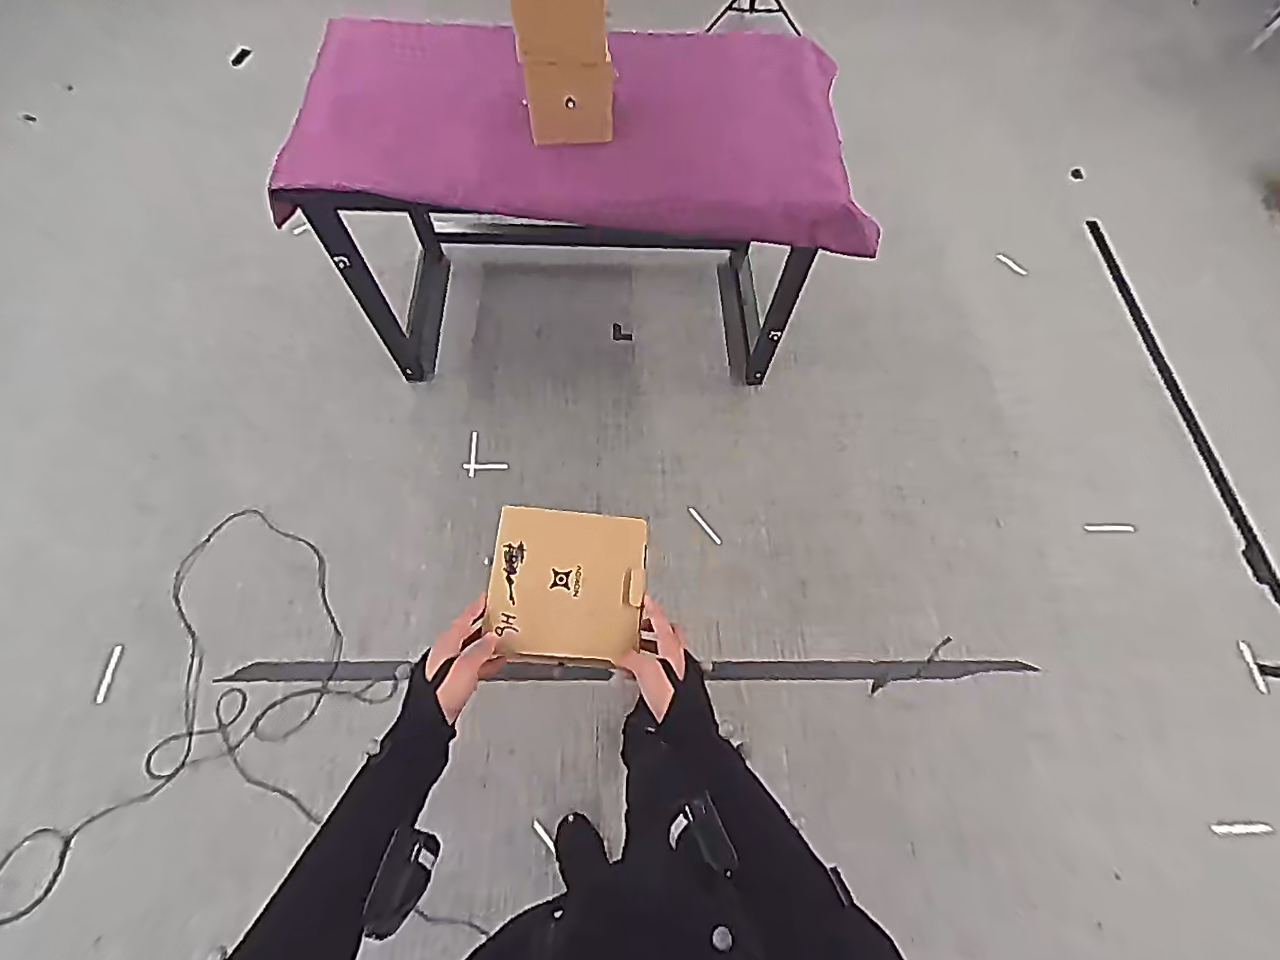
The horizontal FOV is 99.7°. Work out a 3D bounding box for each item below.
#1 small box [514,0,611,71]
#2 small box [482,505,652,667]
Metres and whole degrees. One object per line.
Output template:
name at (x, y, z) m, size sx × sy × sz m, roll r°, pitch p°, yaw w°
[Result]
small box at (-0.145, -0.908, 1.019) m, size 0.179 × 0.176 × 0.168 m, roll -2°, pitch 66°, yaw -4°
small box at (-0.090, 0.144, 0.688) m, size 0.179 × 0.176 × 0.168 m, roll 7°, pitch 67°, yaw -6°
